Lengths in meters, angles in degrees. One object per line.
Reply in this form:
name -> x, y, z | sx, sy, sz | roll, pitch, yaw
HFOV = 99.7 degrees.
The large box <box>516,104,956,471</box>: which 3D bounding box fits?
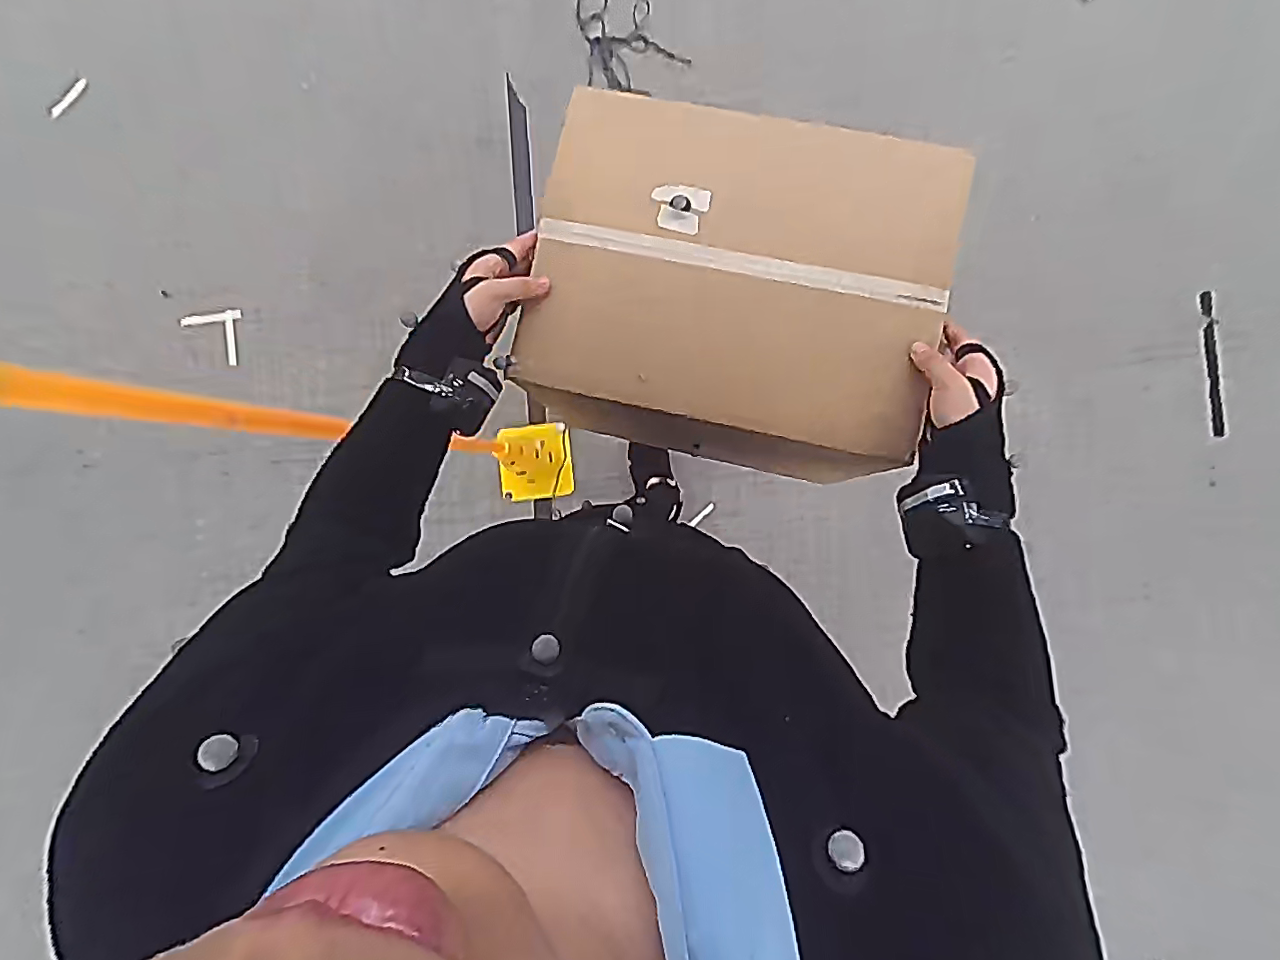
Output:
large box -> 0.108, -0.204, 0.696 | 0.408, 0.320, 0.320 | 12, 86, 5
